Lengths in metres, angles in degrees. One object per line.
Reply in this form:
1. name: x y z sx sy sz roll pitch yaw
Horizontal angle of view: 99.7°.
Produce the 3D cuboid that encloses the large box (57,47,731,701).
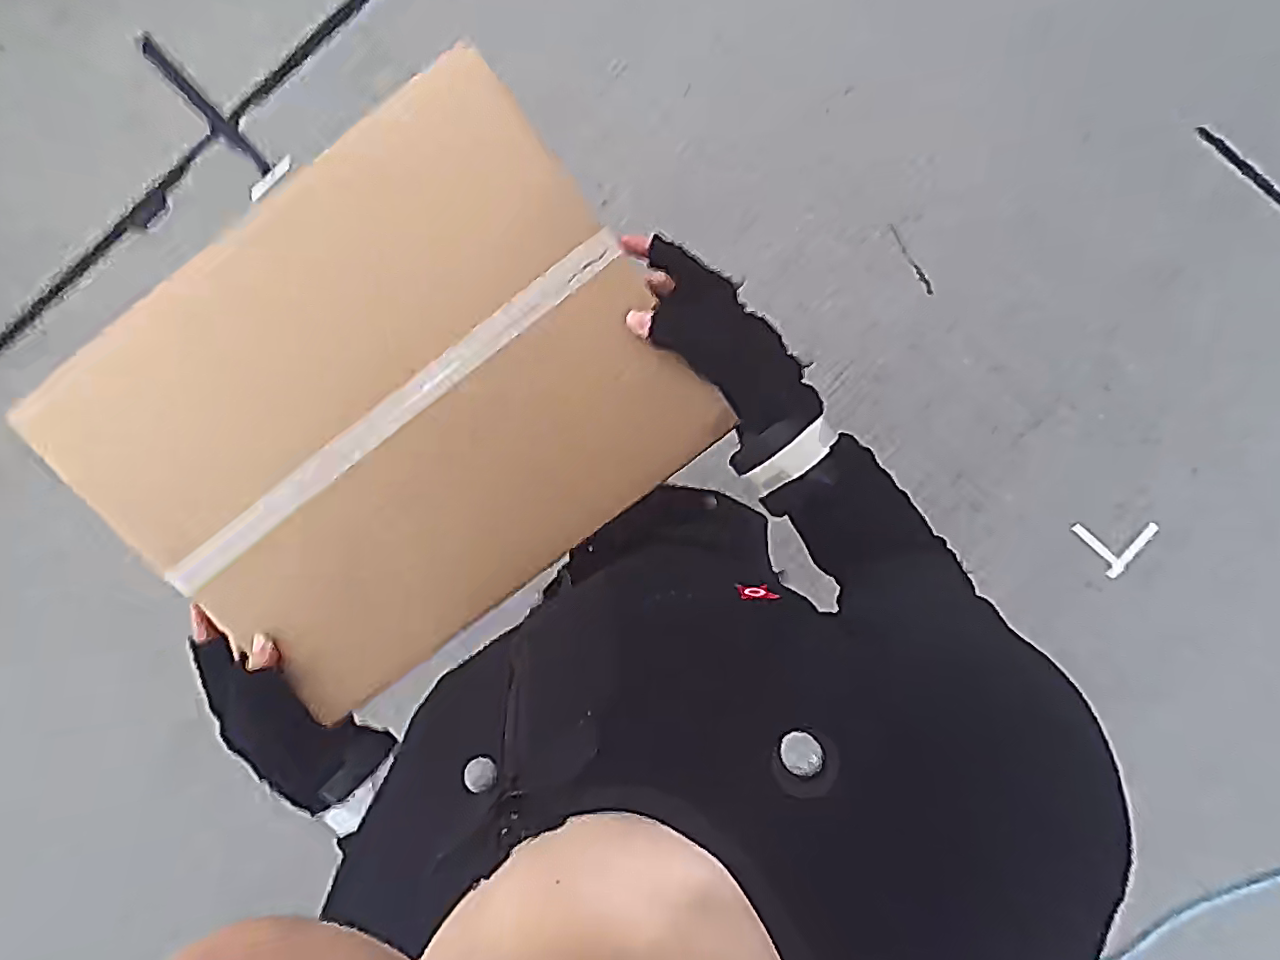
1. large box: -0.183 -0.080 0.545 0.408 0.320 0.320 -37 101 4
